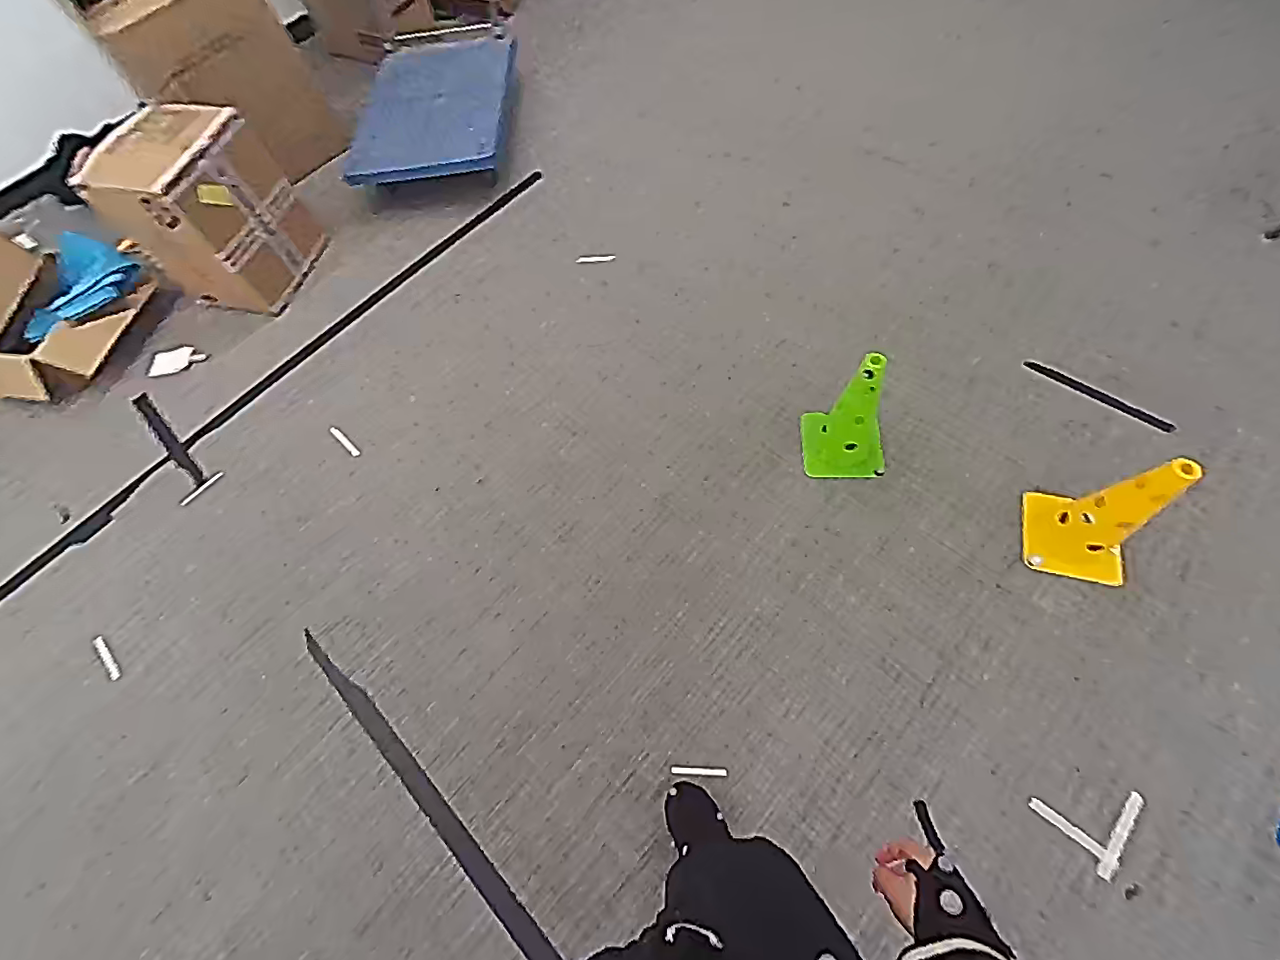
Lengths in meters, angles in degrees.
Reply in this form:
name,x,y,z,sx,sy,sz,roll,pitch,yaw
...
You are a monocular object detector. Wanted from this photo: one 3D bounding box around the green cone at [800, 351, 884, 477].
name,x,y,z,sx,sy,sz,roll,pitch,yaw
green cone,0.513,-0.178,1.294,0.202,0.368,0.200,-1,63,8
